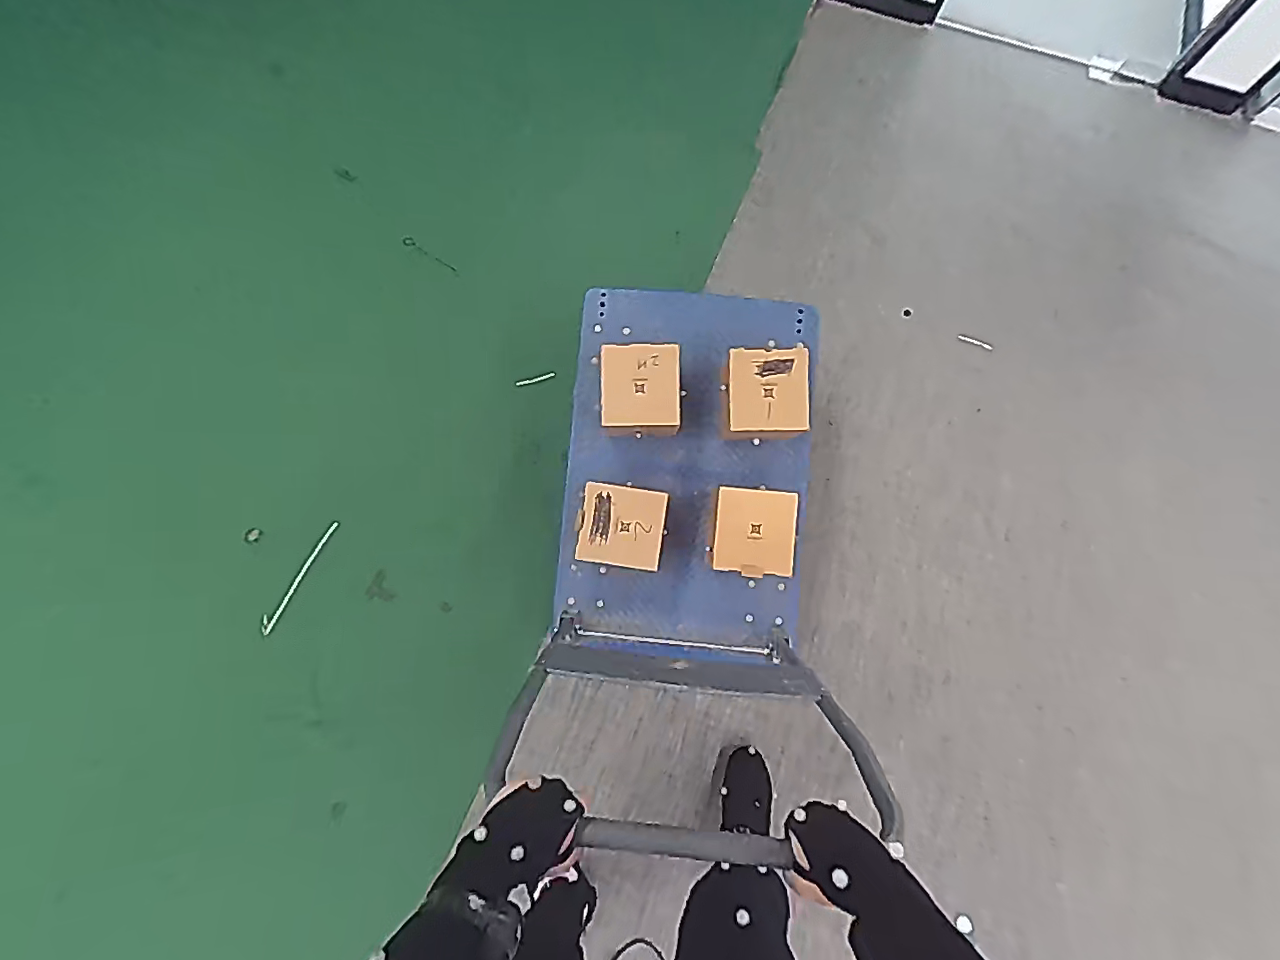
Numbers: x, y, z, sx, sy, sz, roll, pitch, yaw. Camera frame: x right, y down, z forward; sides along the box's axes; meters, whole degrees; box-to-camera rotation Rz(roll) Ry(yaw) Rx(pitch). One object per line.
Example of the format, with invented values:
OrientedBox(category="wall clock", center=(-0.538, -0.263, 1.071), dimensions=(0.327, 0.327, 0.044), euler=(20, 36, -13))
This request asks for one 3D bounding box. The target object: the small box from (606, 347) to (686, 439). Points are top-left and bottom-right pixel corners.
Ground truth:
OrientedBox(category="small box", center=(0.014, -0.188, 1.211), dimensions=(0.168, 0.176, 0.179), euler=(1, 86, 0))

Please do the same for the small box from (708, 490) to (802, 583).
OrientedBox(category="small box", center=(0.246, 0.121, 1.191), dimensions=(0.168, 0.176, 0.179), euler=(6, 87, 1))

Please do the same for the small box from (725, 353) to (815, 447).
OrientedBox(category="small box", center=(0.283, -0.173, 1.207), dimensions=(0.168, 0.176, 0.179), euler=(1, 87, 2))
